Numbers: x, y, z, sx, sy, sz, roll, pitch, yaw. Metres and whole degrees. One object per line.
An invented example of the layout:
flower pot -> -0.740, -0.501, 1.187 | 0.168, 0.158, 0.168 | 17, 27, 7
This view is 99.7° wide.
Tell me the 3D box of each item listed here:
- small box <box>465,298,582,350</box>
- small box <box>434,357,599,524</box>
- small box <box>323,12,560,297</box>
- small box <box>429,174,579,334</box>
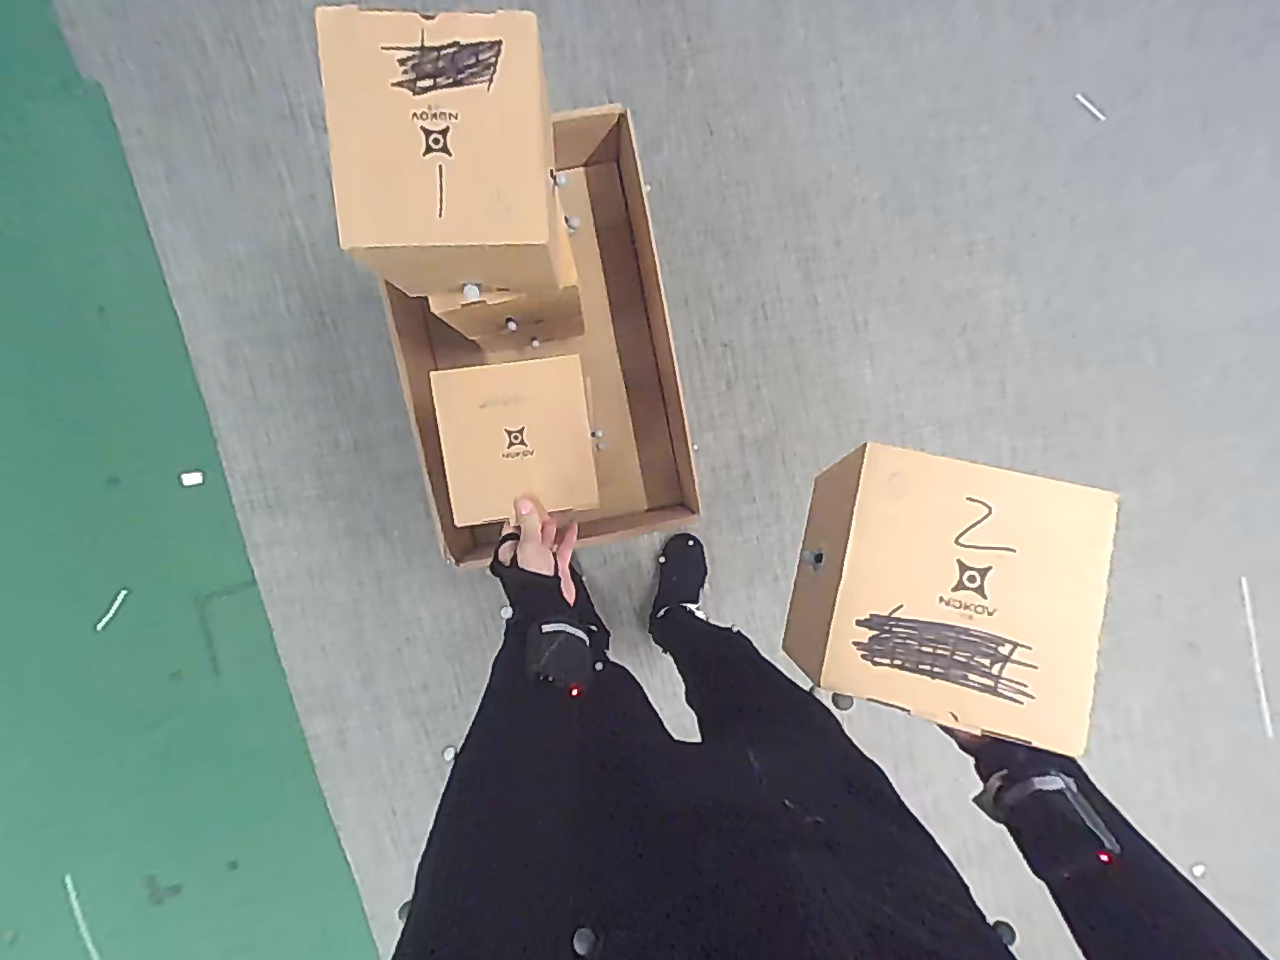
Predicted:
small box -> -0.186, -0.311, 0.828 | 0.168, 0.176, 0.179 | -12, 97, -3
small box -> -0.142, -0.053, 0.683 | 0.168, 0.176, 0.179 | -7, 96, -4
small box -> -0.164, -0.280, 0.504 | 0.168, 0.176, 0.179 | -3, 97, -5
small box -> -0.174, -0.293, 0.668 | 0.168, 0.176, 0.179 | -12, 98, -5
